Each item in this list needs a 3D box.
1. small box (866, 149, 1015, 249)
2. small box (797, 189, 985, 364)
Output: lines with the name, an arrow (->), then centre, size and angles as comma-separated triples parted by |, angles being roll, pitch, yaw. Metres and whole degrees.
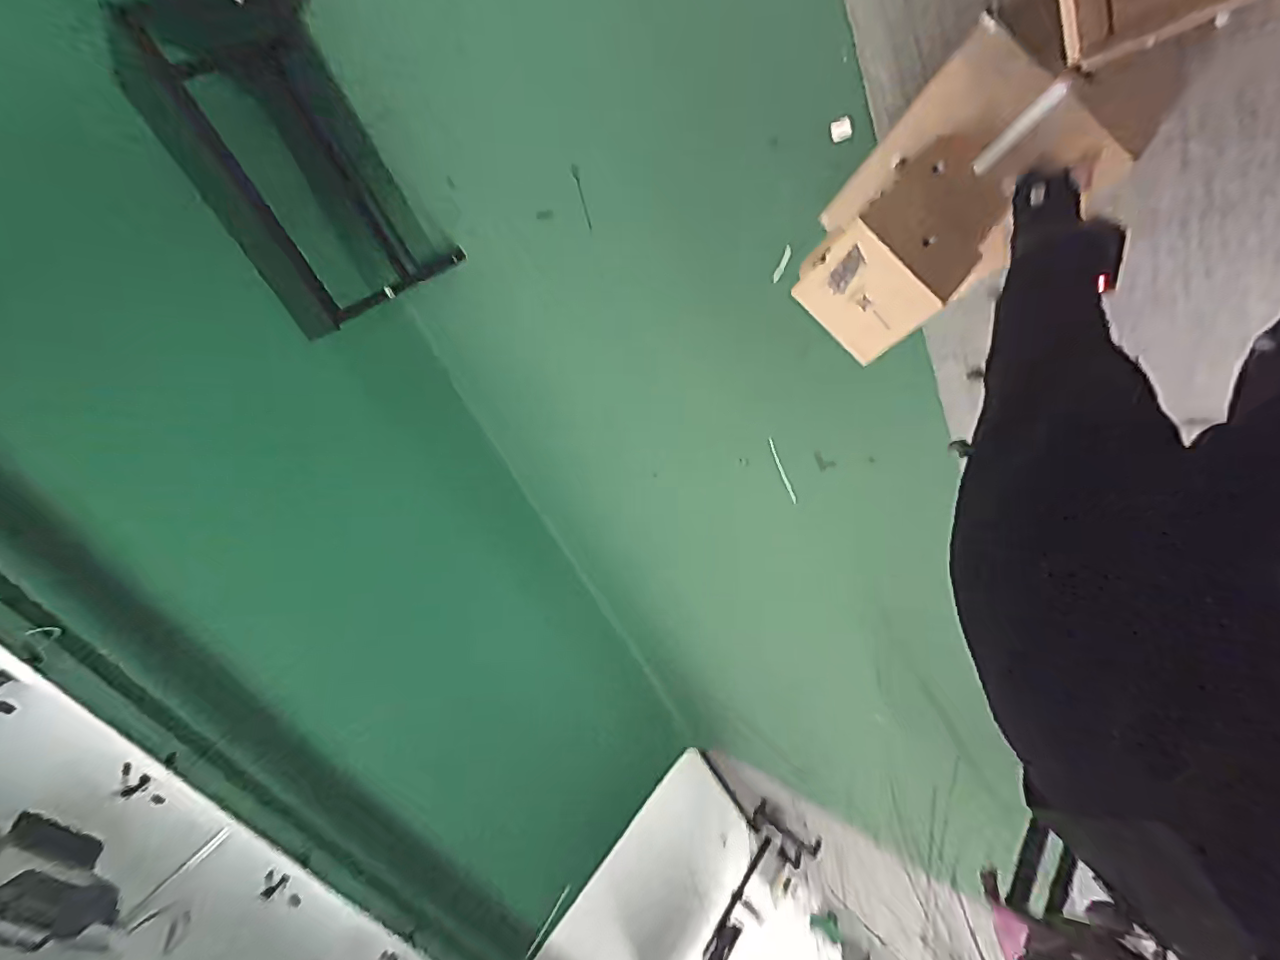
small box -> 0.491, -0.433, 0.931 | 0.179, 0.176, 0.168 | 44, 152, 5
small box -> 0.394, -0.325, 0.854 | 0.179, 0.176, 0.168 | 45, 153, 0
